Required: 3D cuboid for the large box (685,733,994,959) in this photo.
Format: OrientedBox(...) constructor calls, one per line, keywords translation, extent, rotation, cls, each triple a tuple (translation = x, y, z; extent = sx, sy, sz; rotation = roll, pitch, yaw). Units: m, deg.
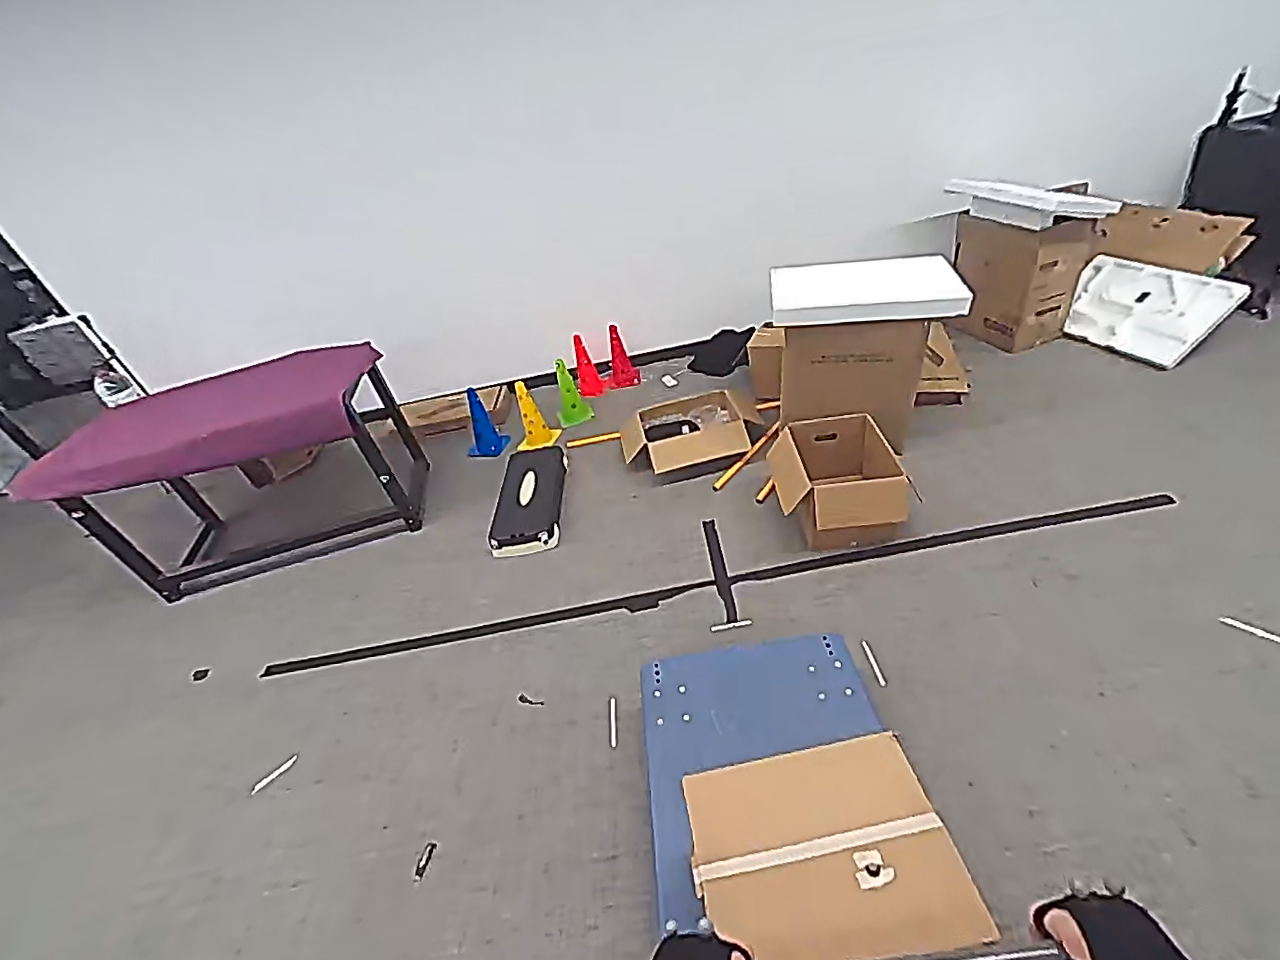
OrientedBox(translation=(0.319, 0.723, 0.976), extent=(0.408, 0.320, 0.320), rotation=(-12, 37, -1), cls="large box")
